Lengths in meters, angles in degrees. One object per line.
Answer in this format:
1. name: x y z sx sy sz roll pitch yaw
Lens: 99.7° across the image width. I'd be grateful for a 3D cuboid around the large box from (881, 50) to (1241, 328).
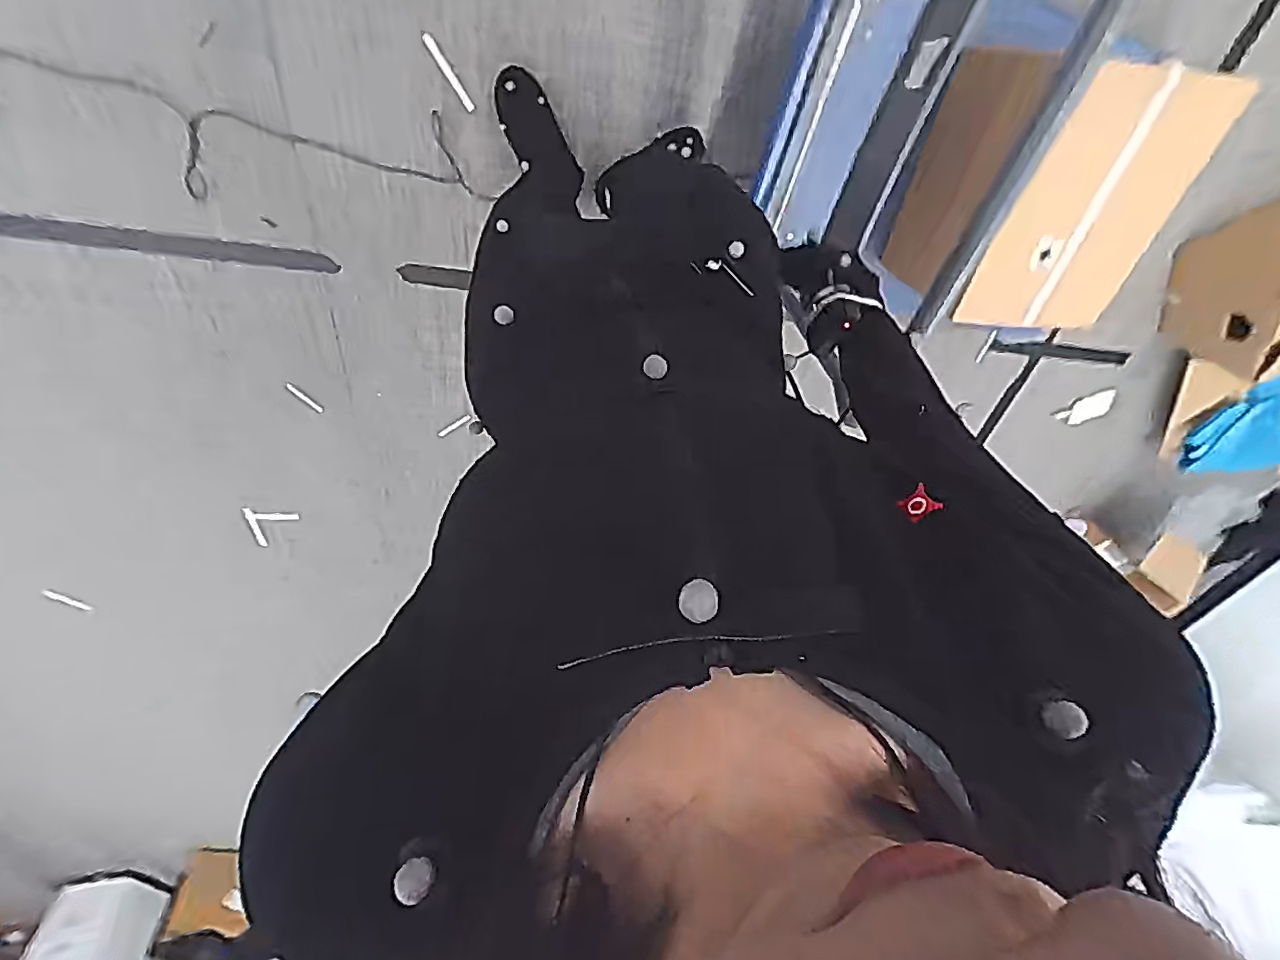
1. large box: 0.739 -0.552 1.040 0.320 0.320 0.408 1 131 -9
